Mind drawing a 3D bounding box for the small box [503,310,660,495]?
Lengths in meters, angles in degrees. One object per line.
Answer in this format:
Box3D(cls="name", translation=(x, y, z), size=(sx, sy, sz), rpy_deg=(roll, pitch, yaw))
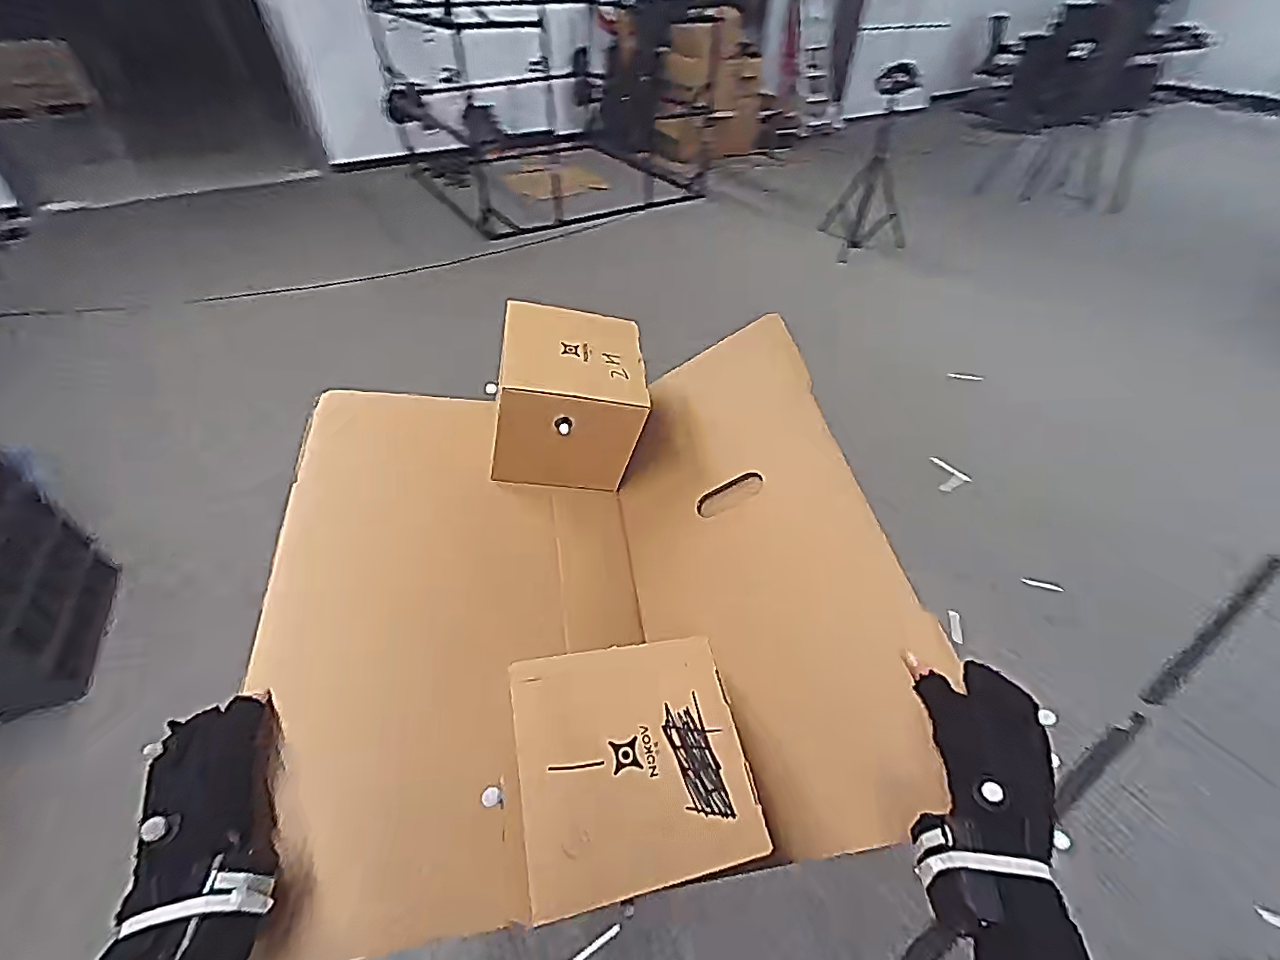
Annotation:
Box3D(cls="small box", translation=(-0.085, -0.096, 0.727), size=(0.179, 0.176, 0.168), rpy_deg=(8, 51, -15))
